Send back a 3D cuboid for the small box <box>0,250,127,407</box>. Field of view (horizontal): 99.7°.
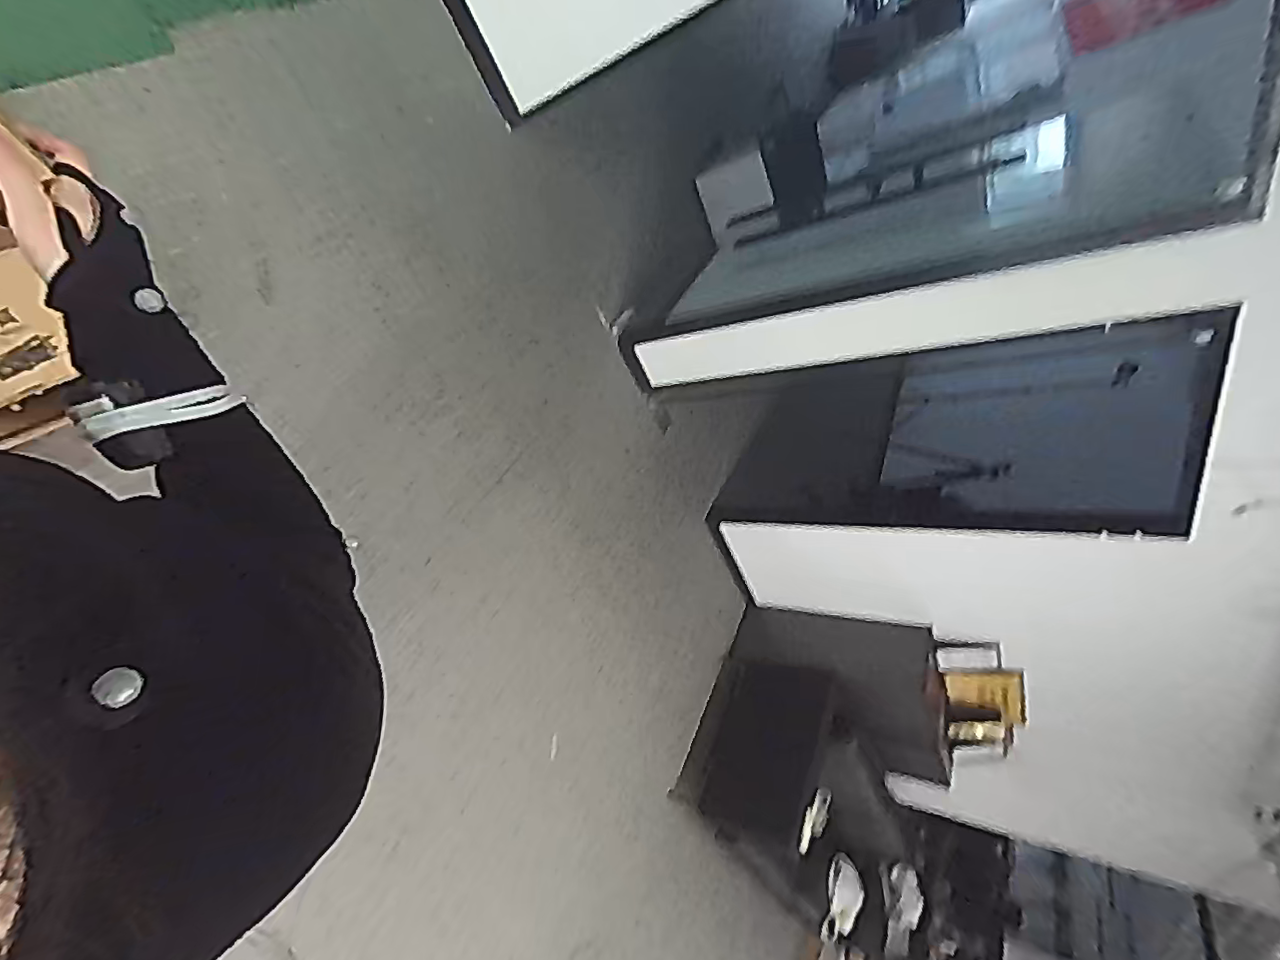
[{"bbox_3d":[-0.960,-0.224,0.832,0.168,0.176,0.179,-50,126,-40],"label":"small box"}]
